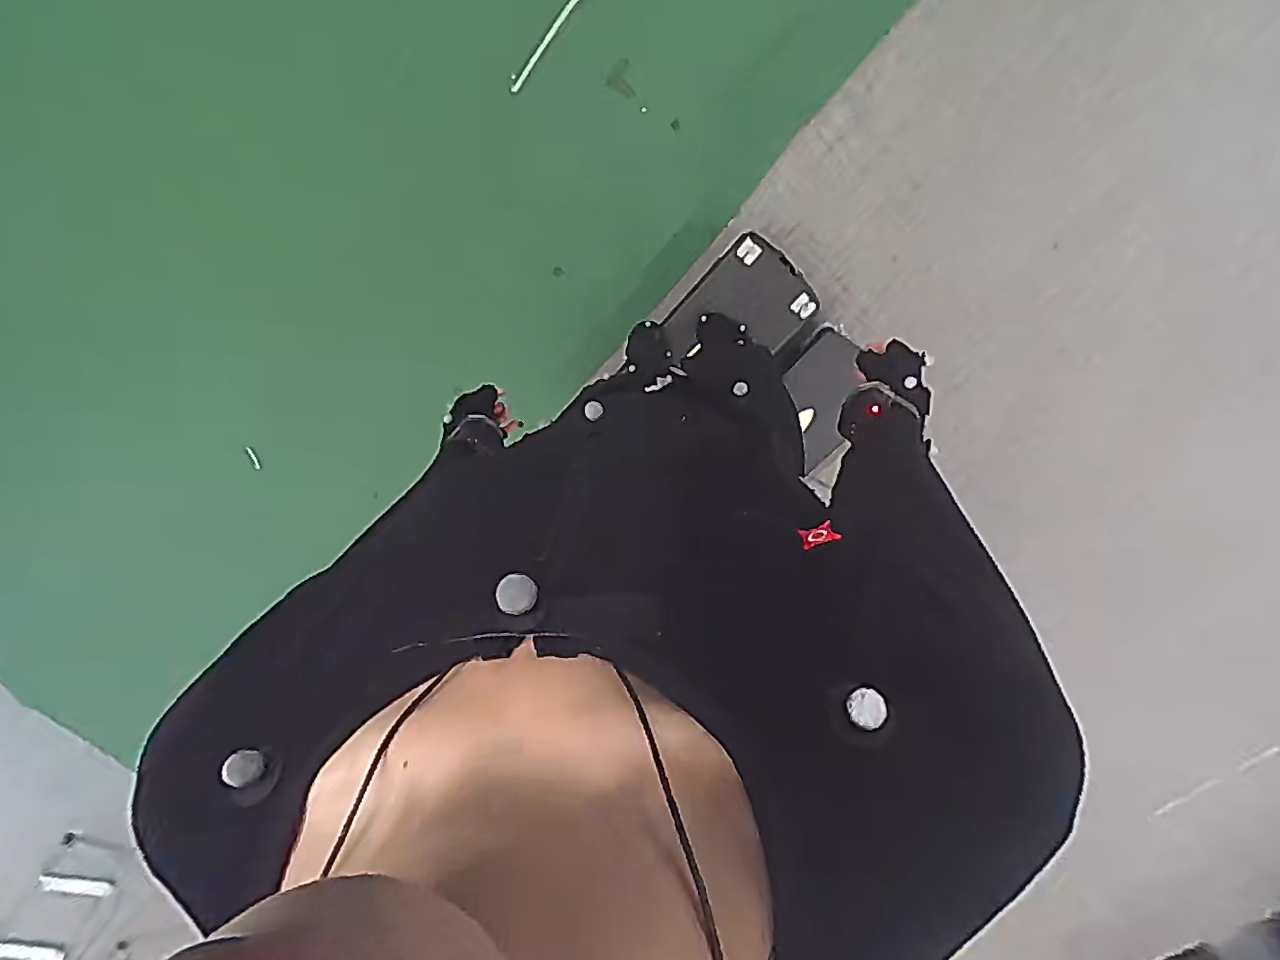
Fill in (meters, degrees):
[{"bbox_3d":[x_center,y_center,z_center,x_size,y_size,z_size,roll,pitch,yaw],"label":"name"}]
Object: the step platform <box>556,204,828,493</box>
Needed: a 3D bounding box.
[{"bbox_3d":[0.106,-0.299,1.313,0.286,0.204,0.684,41,108,-9],"label":"step platform"}]
